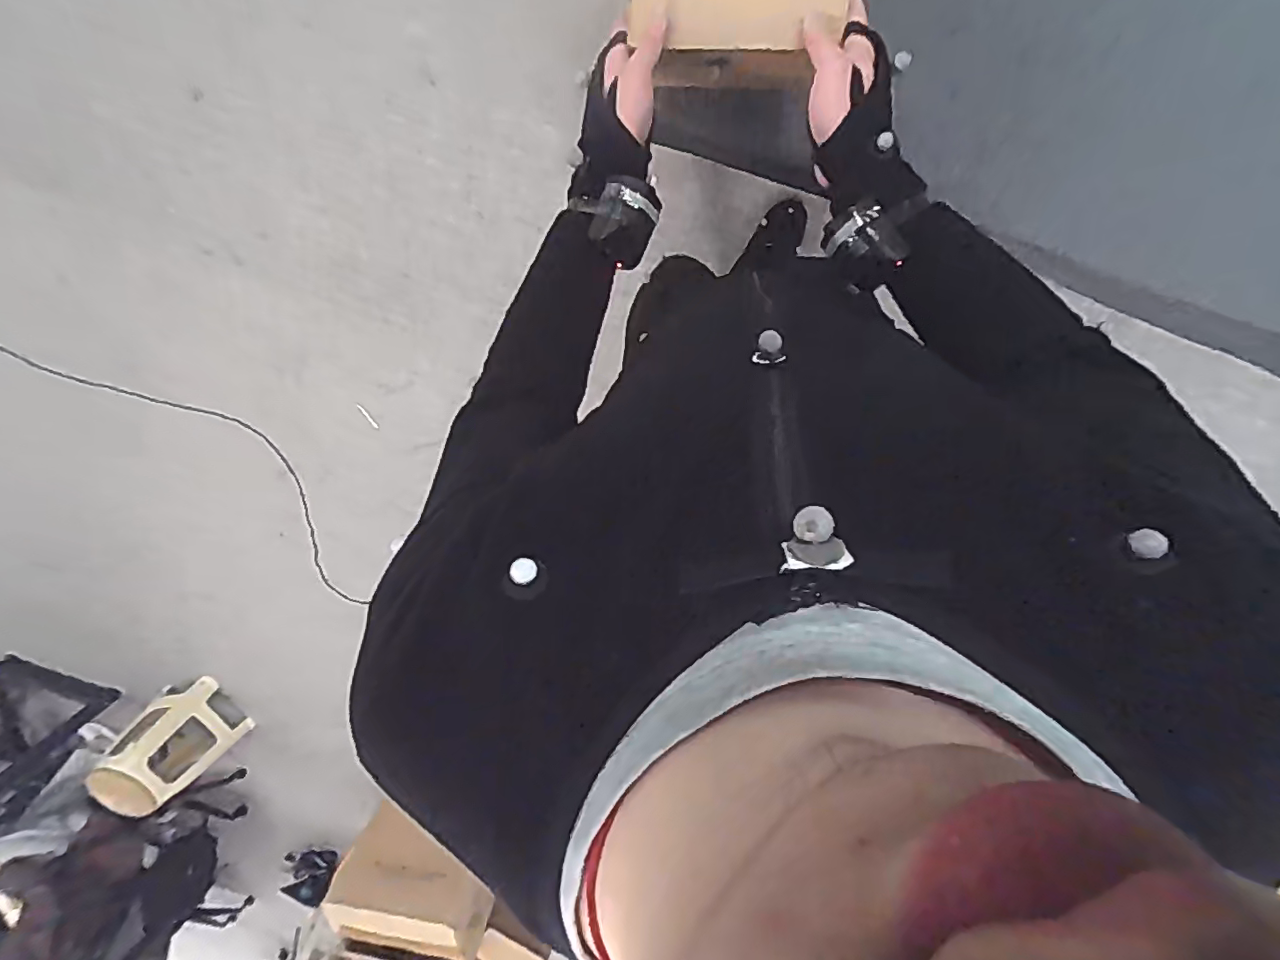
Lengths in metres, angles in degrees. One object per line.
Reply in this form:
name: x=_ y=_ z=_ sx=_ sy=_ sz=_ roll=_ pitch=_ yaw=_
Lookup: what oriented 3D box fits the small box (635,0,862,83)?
small box: x=0.091 y=-0.455 z=0.463 sx=0.179 sy=0.176 sz=0.168 roll=3 pitch=118 yaw=3
